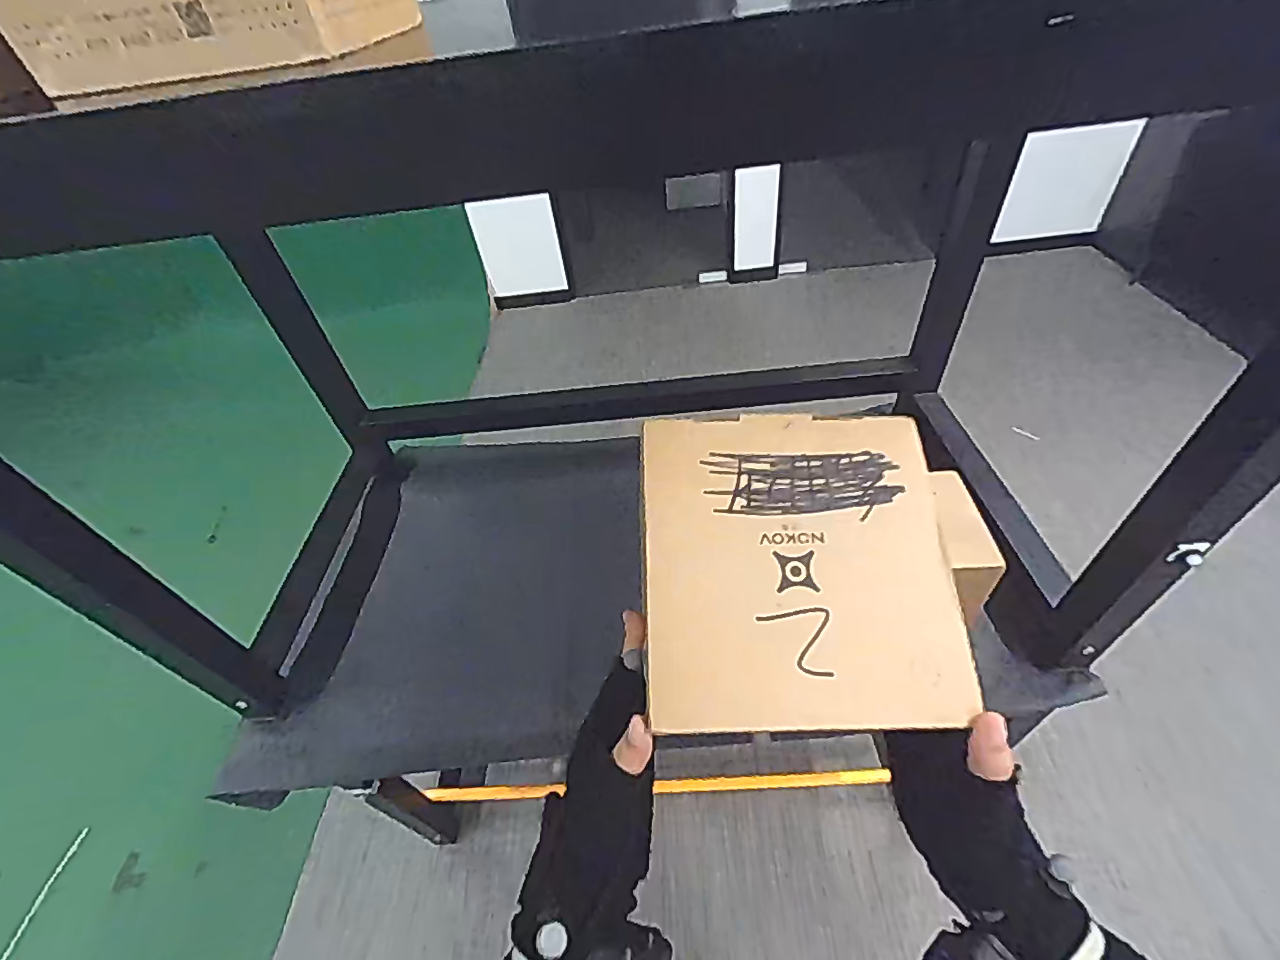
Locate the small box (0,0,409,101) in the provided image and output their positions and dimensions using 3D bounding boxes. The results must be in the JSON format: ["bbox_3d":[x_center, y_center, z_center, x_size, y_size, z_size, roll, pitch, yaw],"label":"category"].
[{"bbox_3d":[-0.257,-0.330,0.301,0.168,0.176,0.179,-4,45,5],"label":"small box"}]

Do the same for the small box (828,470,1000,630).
[{"bbox_3d":[0.383,0.107,0.795,0.168,0.176,0.179,-2,44,6],"label":"small box"}]
